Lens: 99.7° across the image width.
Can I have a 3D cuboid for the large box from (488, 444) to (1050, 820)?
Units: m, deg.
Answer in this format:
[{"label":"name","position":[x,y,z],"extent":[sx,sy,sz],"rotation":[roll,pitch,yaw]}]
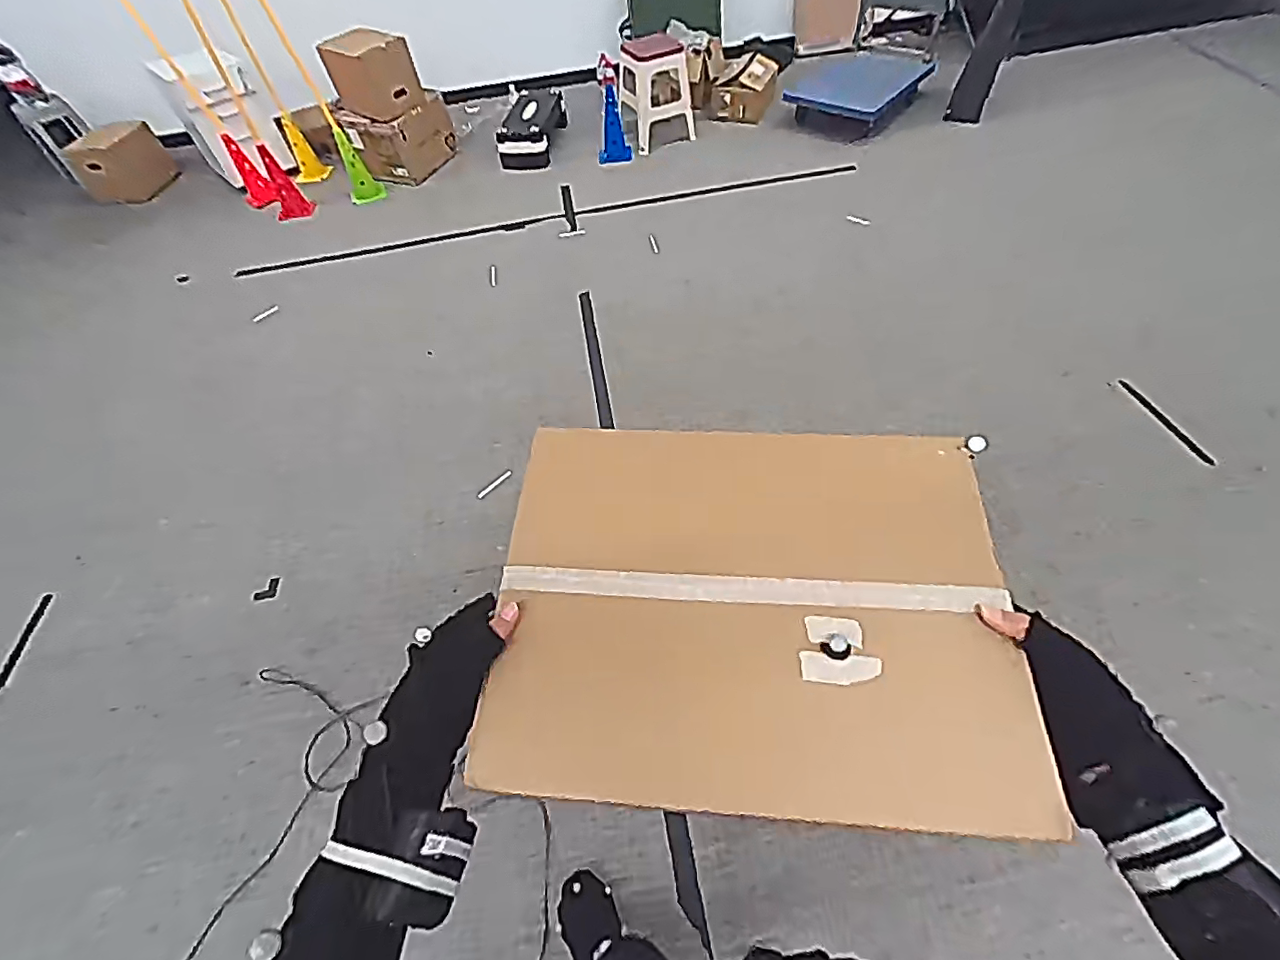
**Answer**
[{"label":"large box","position":[0.099,0.173,0.585],"extent":[0.408,0.320,0.320],"rotation":[1,60,5]}]
